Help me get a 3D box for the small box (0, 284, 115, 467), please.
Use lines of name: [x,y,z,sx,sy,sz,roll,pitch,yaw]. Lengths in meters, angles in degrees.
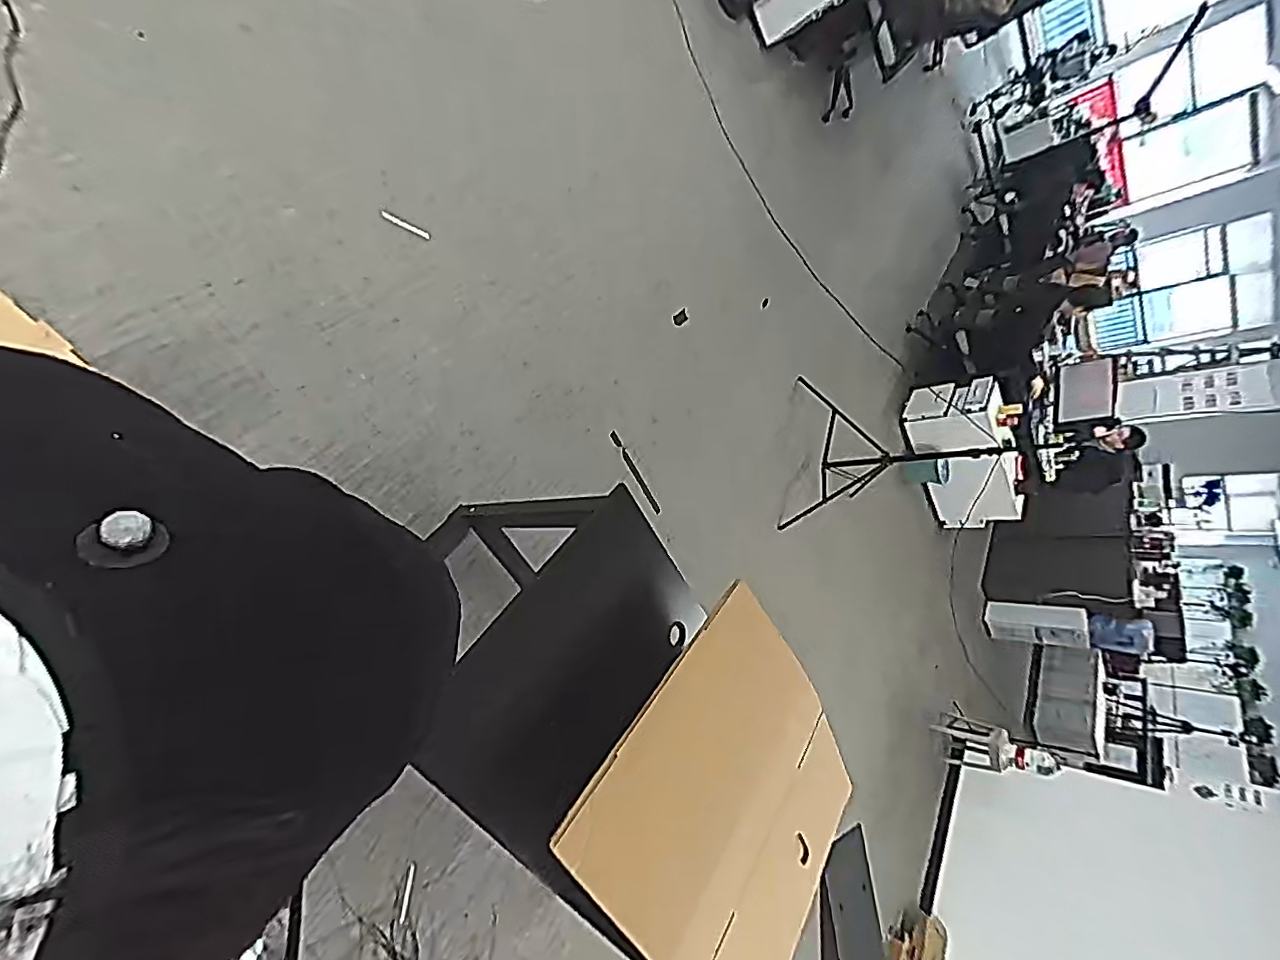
small box: [-0.892,-0.136,0.746,0.168,0.176,0.179,53,52,-27]
